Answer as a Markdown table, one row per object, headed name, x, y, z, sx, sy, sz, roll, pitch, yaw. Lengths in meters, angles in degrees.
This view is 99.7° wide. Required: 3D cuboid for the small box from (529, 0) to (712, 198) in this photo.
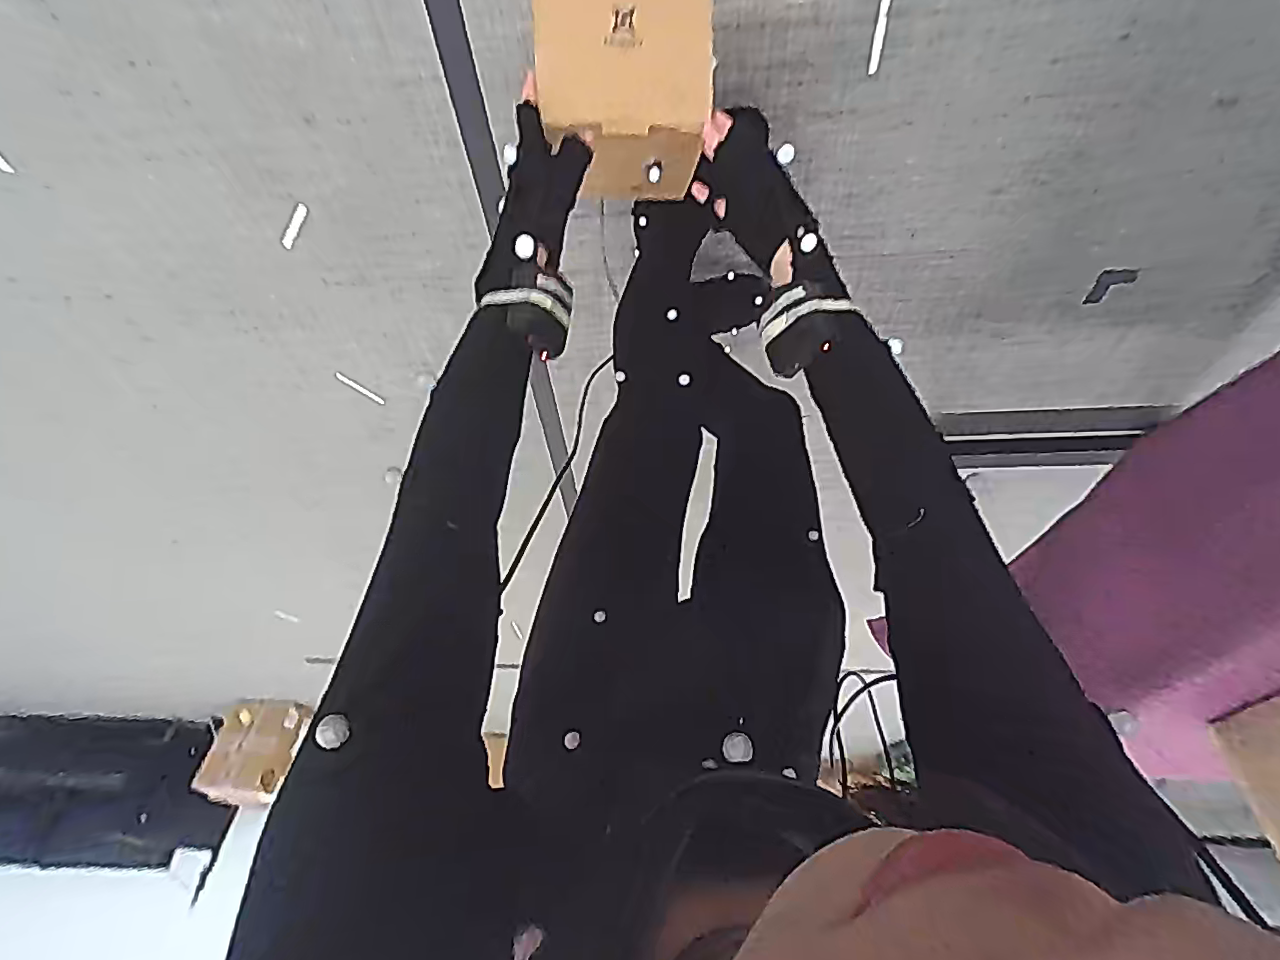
| name | x | y | z | sx | sy | sz | roll | pitch | yaw |
| --- | --- | --- | --- | --- | --- | --- | --- | --- | --- |
| small box | -0.023 | -0.413 | 0.561 | 0.168 | 0.176 | 0.179 | -2 | 95 | -5 |
